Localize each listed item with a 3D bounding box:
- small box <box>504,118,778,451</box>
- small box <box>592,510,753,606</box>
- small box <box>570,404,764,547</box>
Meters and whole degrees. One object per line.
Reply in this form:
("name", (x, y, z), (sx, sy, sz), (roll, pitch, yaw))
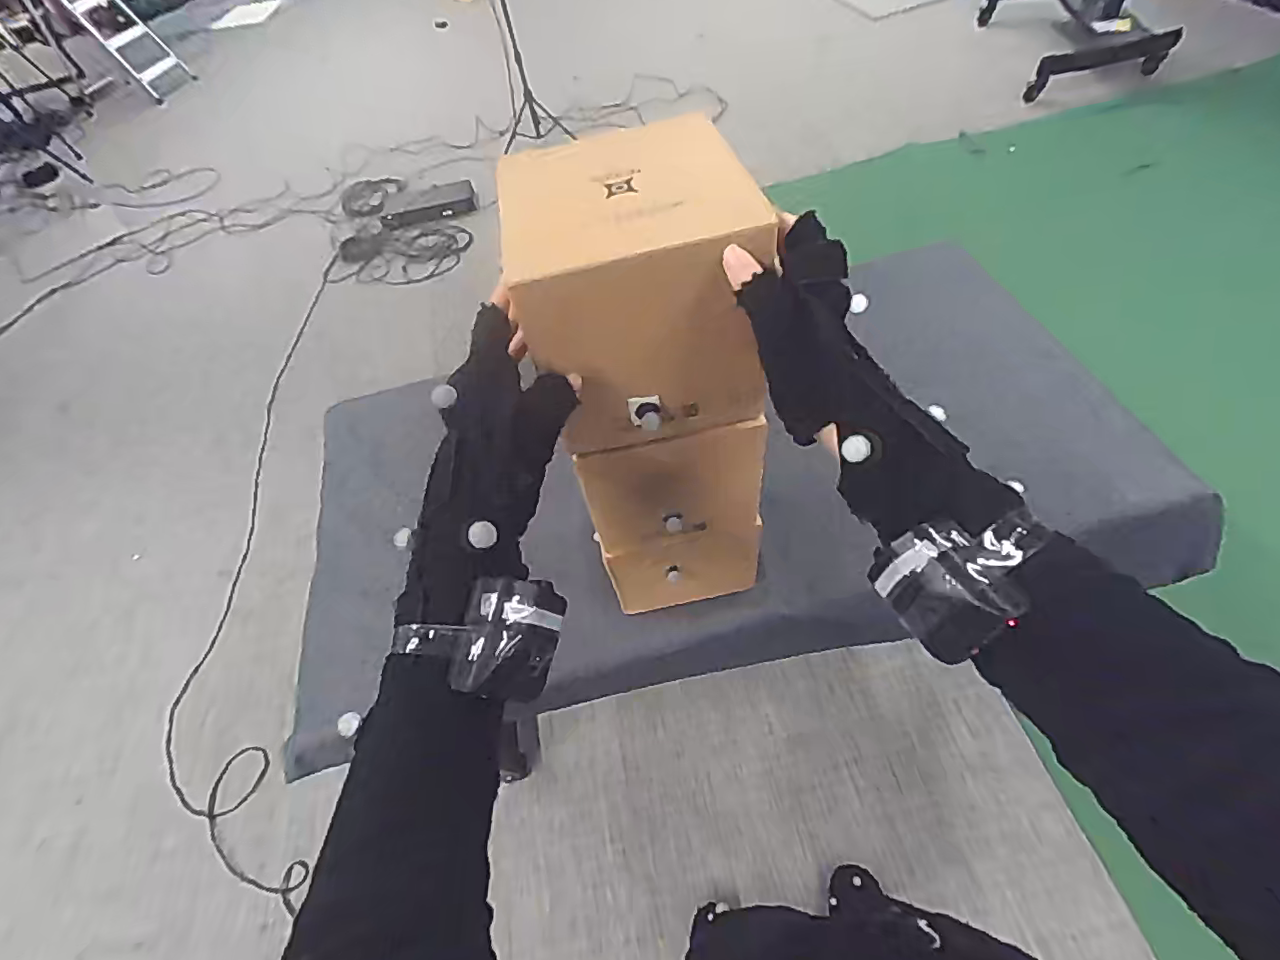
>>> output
("small box", (-0.003, -0.150, 0.429), (0.168, 0.176, 0.179), (-11, 53, 0))
("small box", (0.038, 0.045, 0.691), (0.179, 0.176, 0.168), (-11, 55, 1))
("small box", (0.020, -0.054, 0.560), (0.168, 0.176, 0.179), (-10, 55, 1))
